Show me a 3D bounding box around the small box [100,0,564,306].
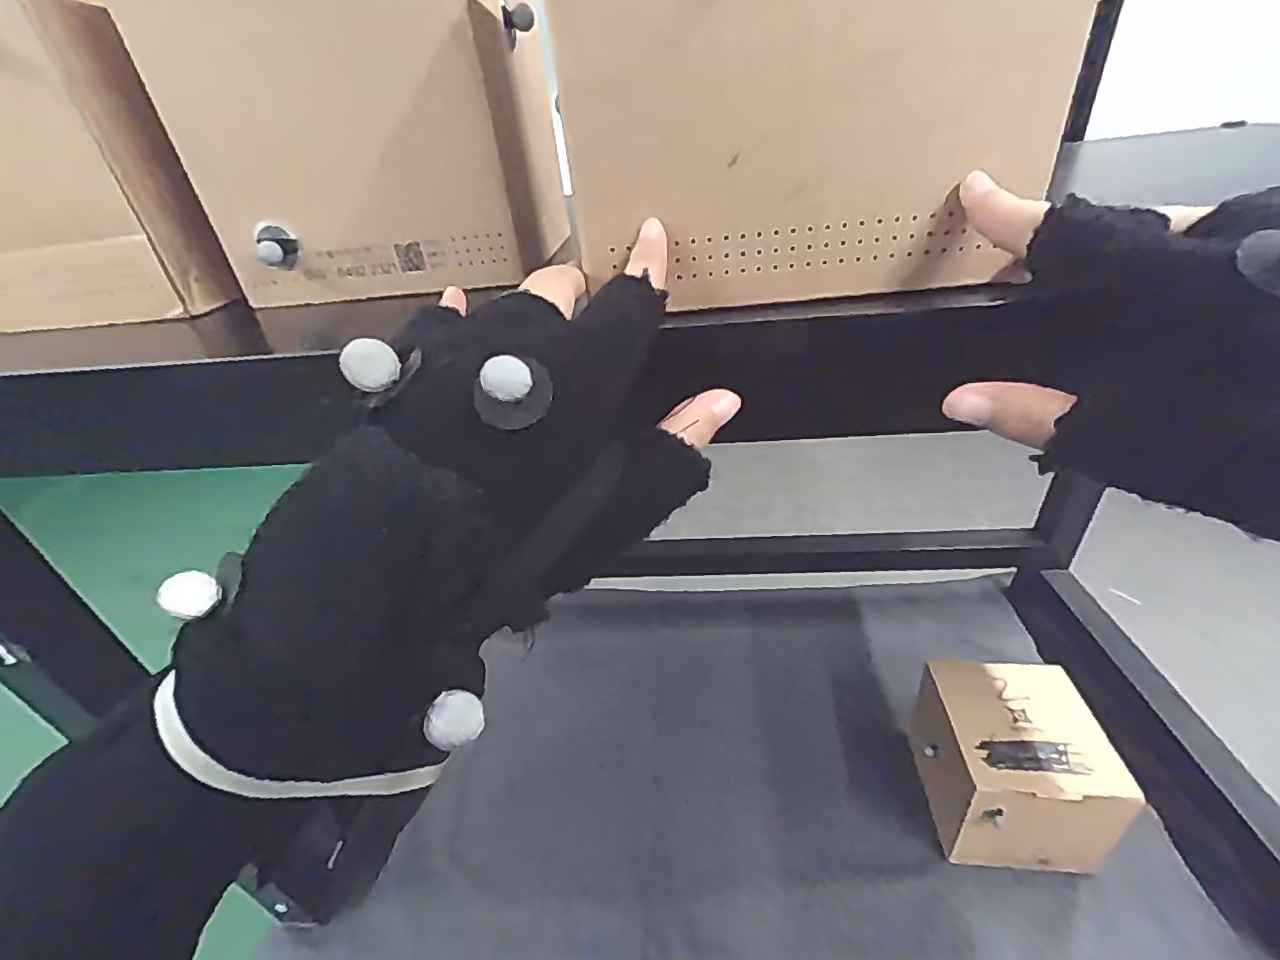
[{"bbox_3d":[-0.150,-0.212,0.339,0.168,0.176,0.179,-3,32,5],"label":"small box"}]

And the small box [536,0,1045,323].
[{"bbox_3d":[0.055,-0.179,0.250,0.179,0.176,0.168,-3,33,6],"label":"small box"}]
